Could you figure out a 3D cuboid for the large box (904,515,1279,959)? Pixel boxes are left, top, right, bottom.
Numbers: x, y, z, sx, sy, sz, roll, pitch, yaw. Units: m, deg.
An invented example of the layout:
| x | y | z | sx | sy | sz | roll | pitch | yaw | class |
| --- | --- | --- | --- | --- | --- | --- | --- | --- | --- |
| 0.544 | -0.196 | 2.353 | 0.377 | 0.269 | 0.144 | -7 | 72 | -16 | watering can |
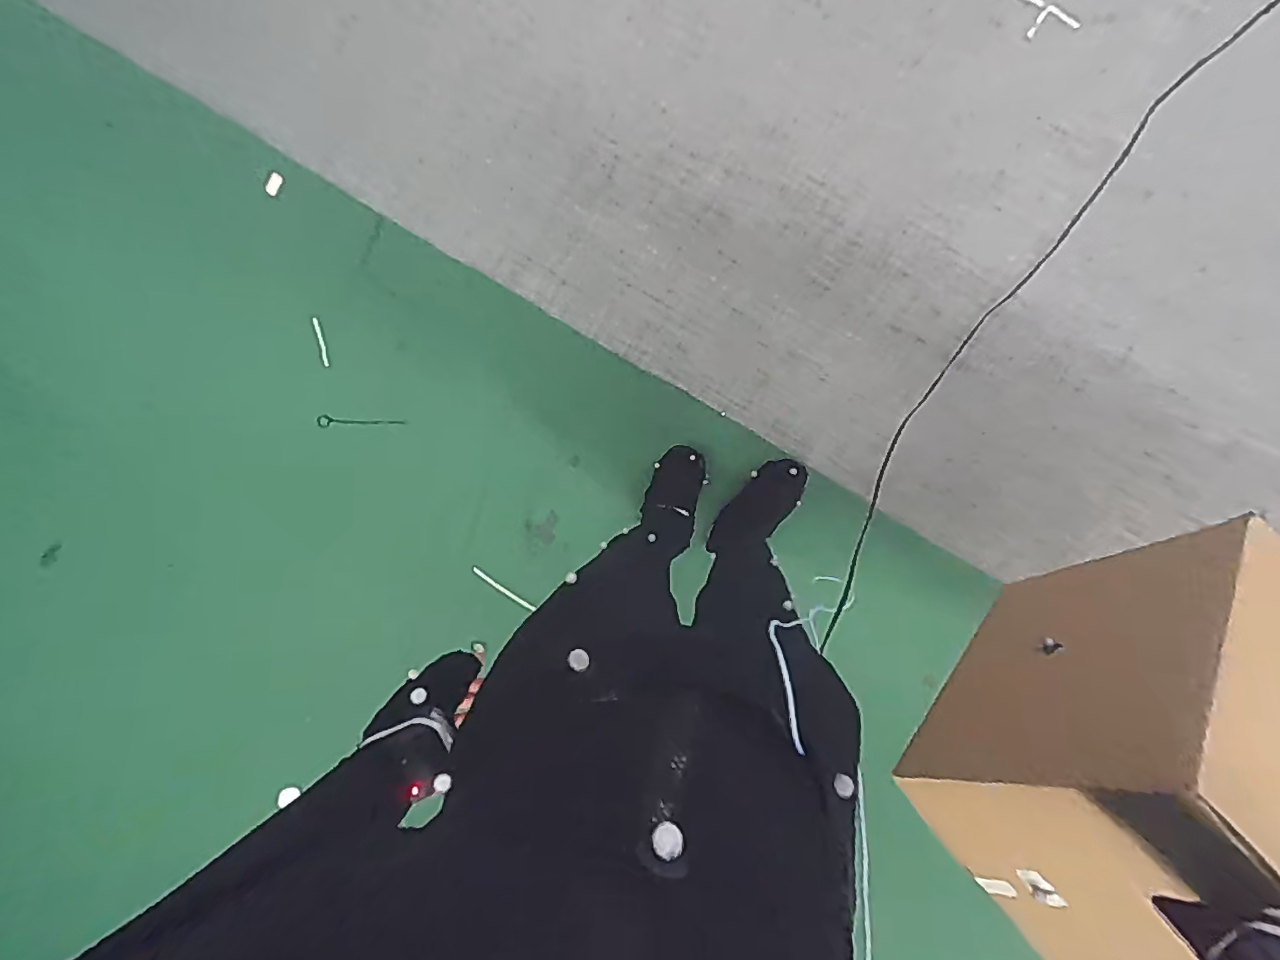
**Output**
| x | y | z | sx | sy | sz | roll | pitch | yaw | class |
| --- | --- | --- | --- | --- | --- | --- | --- | --- | --- |
| 0.593 | 0.316 | 0.616 | 0.408 | 0.320 | 0.320 | -35 | 82 | -32 | large box |
